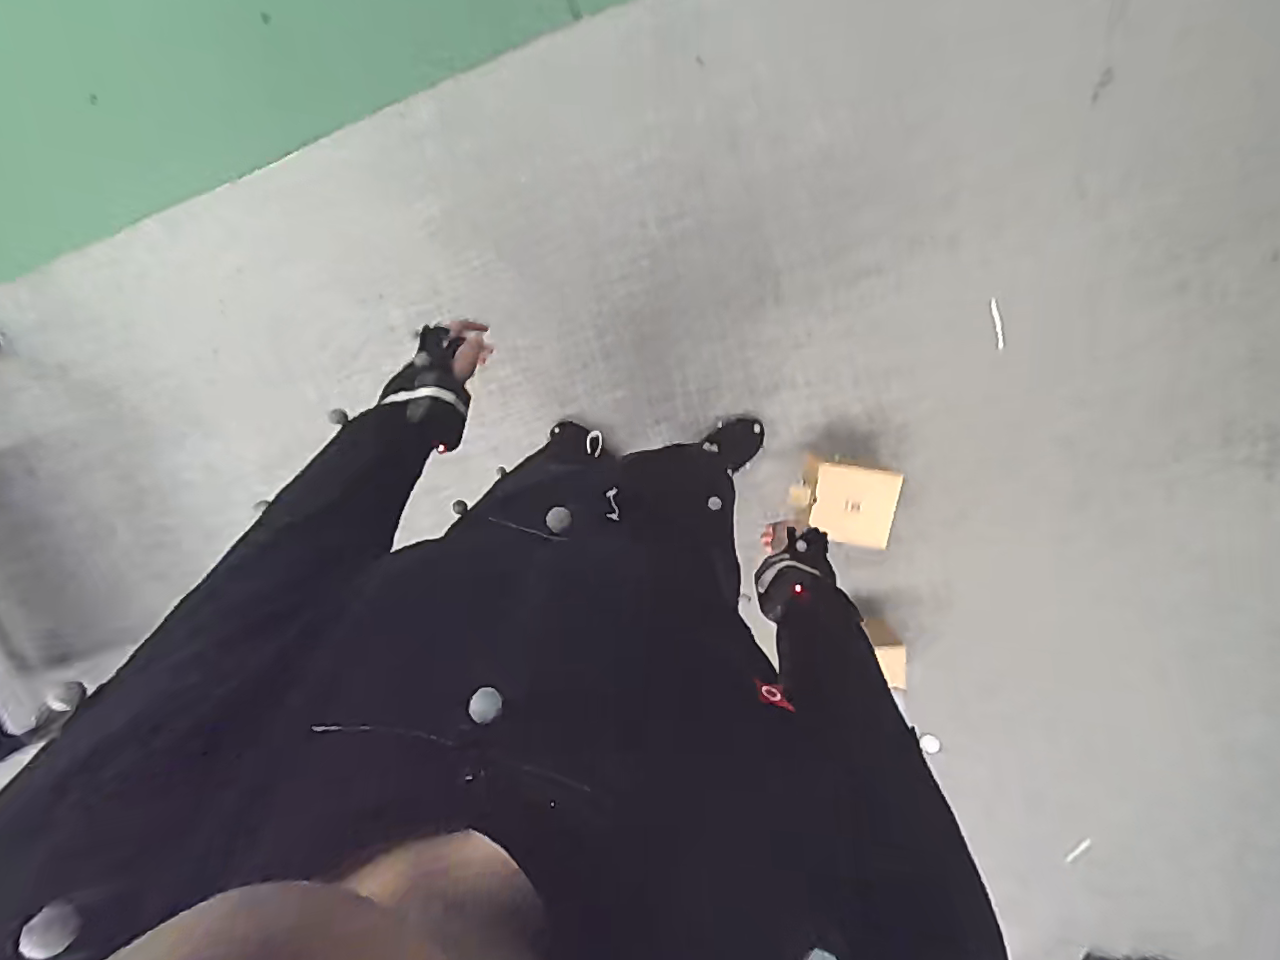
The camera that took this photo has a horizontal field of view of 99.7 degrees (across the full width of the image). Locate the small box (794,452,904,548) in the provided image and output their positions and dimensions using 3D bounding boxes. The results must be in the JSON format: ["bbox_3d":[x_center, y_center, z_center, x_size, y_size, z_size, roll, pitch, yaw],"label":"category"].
[{"bbox_3d":[0.464,0.037,1.228,0.179,0.176,0.168,9,104,5],"label":"small box"}]
